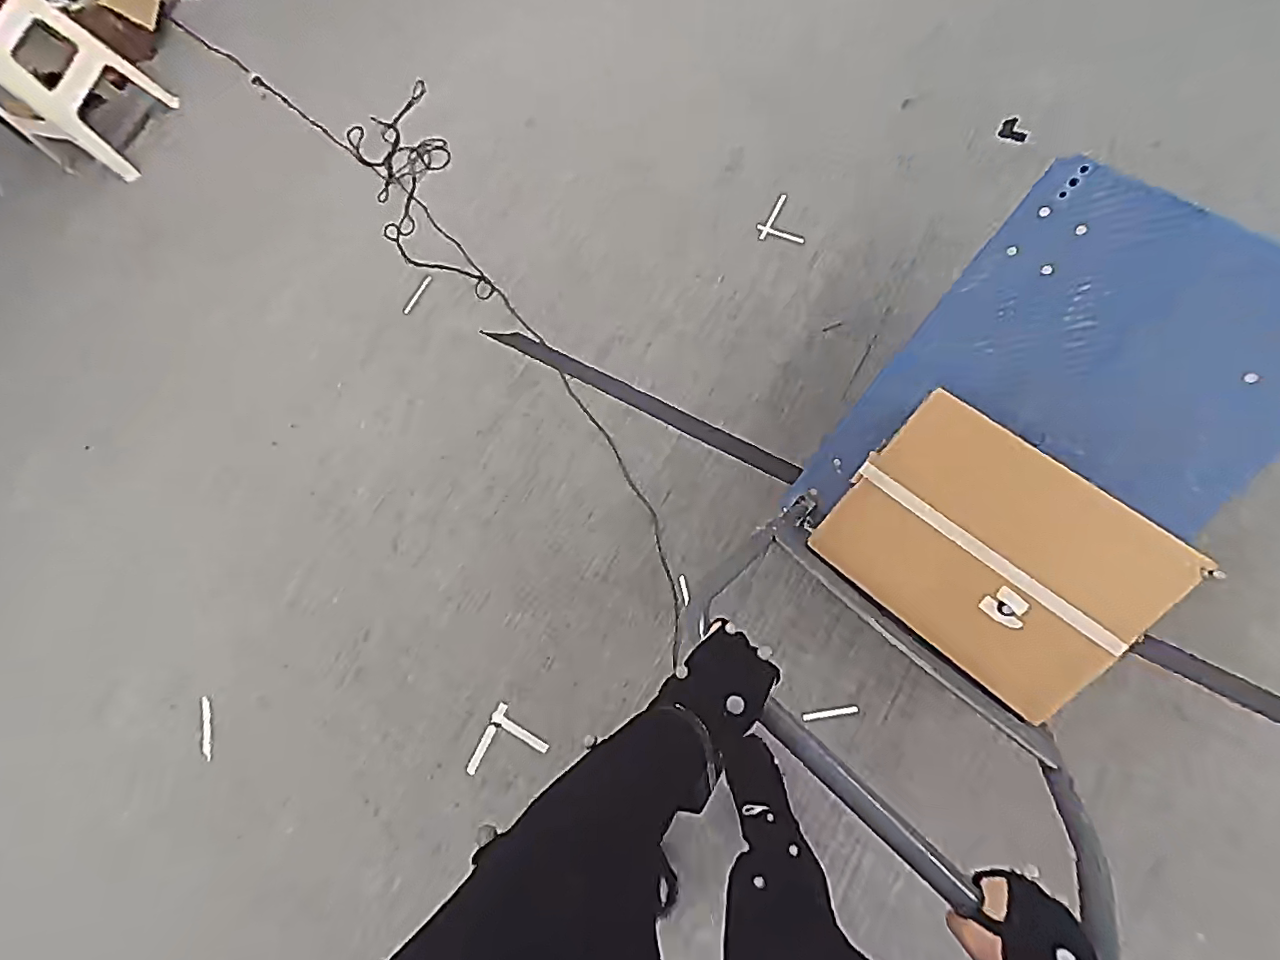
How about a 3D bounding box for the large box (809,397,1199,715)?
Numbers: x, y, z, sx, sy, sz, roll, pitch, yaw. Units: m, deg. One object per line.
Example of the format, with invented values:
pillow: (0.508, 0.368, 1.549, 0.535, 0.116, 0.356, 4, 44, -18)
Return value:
large box: (0.563, 0.102, 0.942, 0.408, 0.320, 0.320, 40, 107, 17)
